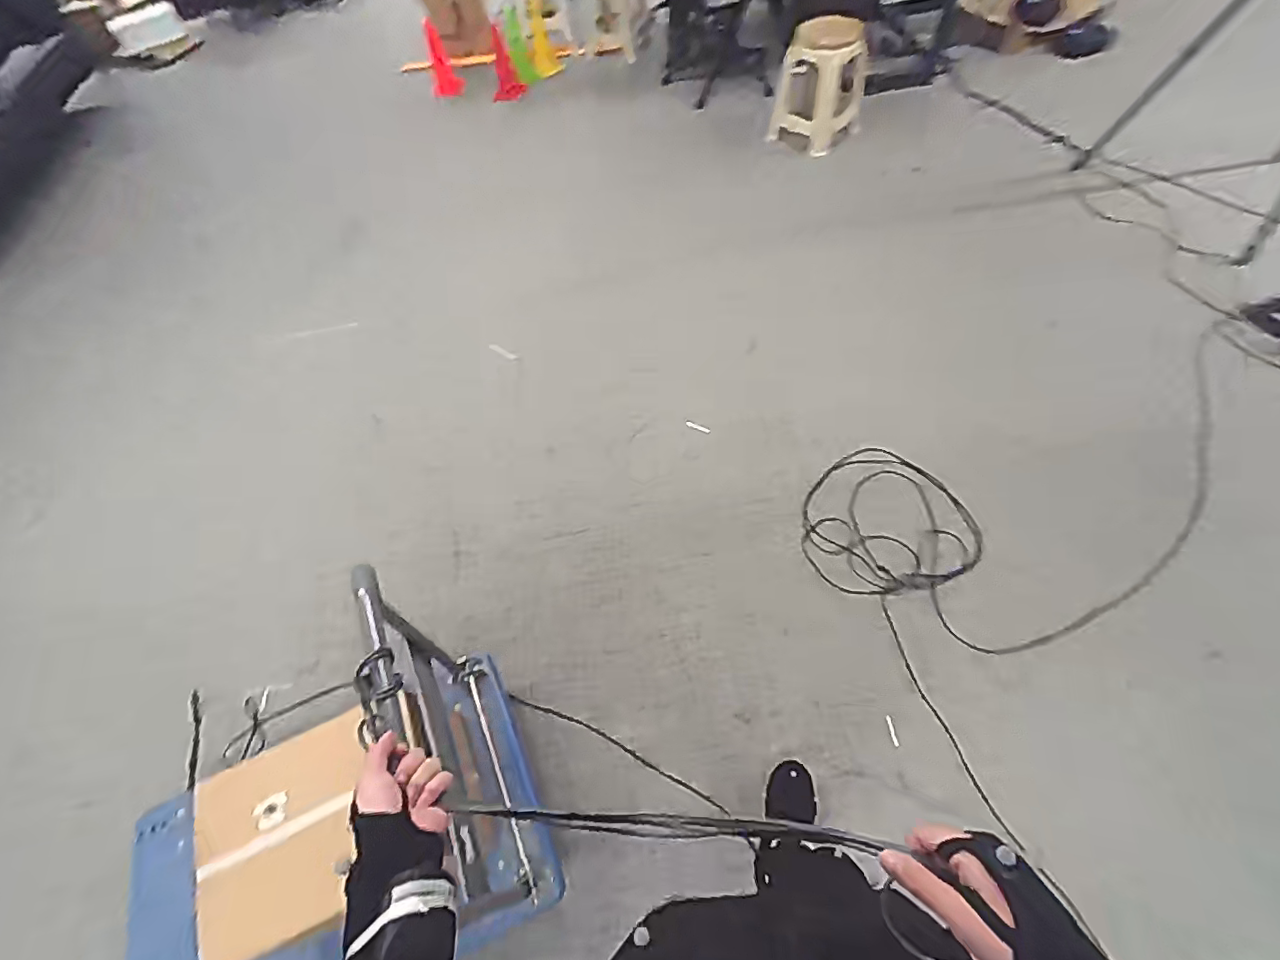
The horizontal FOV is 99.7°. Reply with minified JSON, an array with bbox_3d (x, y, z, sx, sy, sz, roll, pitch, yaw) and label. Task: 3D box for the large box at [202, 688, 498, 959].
[{"bbox_3d":[-0.559,0.681,1.091,0.408,0.320,0.320,-25,59,-9],"label":"large box"}]
